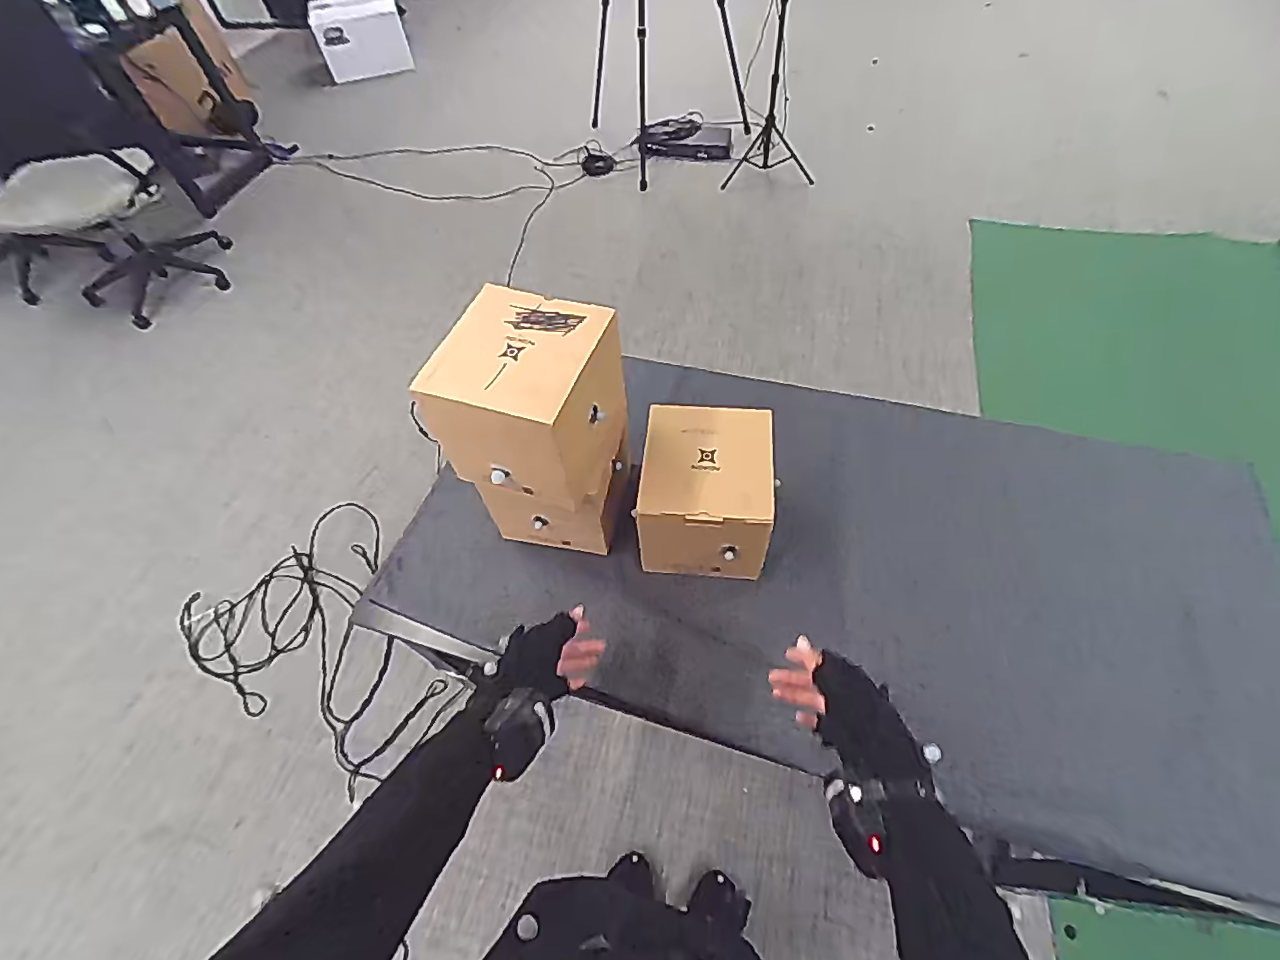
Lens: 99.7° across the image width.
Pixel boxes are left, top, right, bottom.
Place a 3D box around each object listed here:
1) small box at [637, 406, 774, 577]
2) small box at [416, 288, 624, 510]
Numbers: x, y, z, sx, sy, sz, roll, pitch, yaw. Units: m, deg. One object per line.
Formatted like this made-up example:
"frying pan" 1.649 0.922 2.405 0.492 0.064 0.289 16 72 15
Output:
"small box" 0.091 0.020 0.750 0.168 0.176 0.179 4 56 6
"small box" -0.123 -0.094 0.642 0.168 0.176 0.179 15 59 13
